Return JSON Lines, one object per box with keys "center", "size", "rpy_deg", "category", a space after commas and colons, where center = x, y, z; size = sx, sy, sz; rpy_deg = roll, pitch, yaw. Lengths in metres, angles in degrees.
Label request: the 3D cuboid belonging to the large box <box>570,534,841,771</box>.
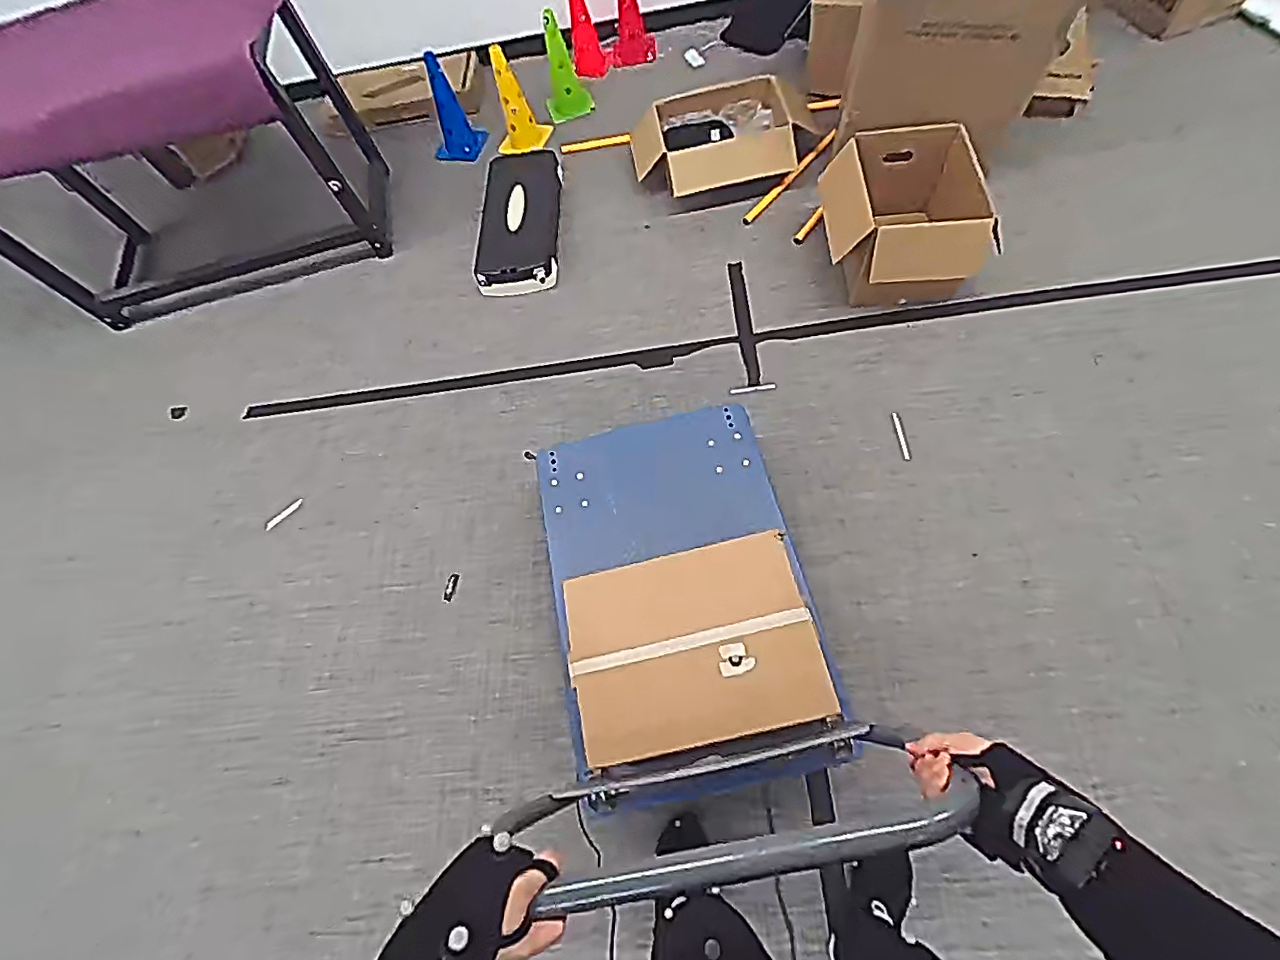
{"center": [0.113, 0.344, 1.045], "size": [0.408, 0.320, 0.320], "rpy_deg": [-14, 63, 2], "category": "large box"}
